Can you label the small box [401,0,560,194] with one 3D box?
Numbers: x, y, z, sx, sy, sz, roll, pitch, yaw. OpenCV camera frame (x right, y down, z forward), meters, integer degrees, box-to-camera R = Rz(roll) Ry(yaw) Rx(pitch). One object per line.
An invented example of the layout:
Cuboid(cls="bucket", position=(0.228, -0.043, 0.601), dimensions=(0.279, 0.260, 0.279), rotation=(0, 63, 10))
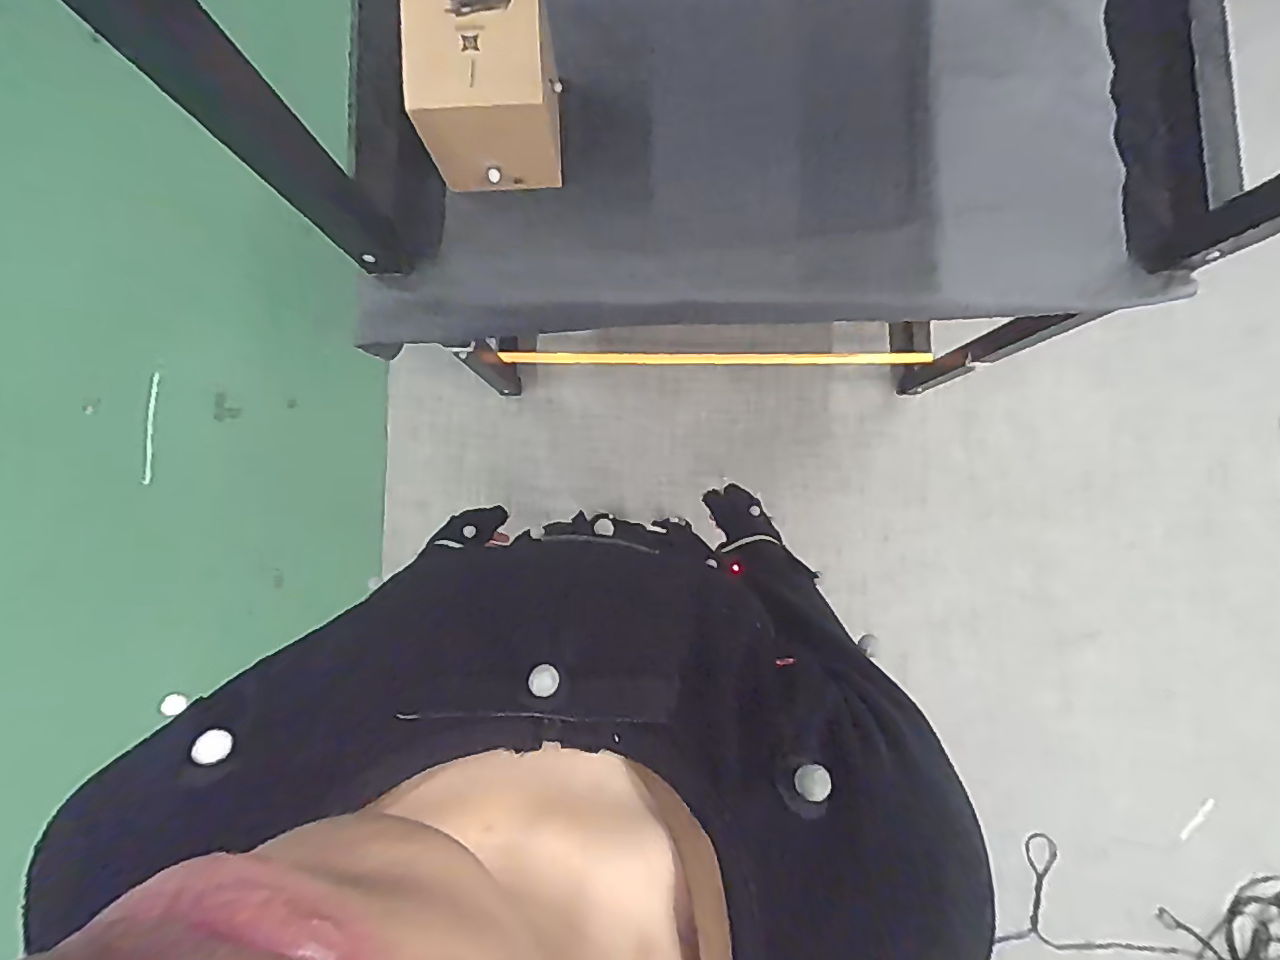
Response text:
Cuboid(cls="small box", position=(-0.201, -0.514, 0.719), dimensions=(0.168, 0.176, 0.179), rotation=(-3, 87, 0))
